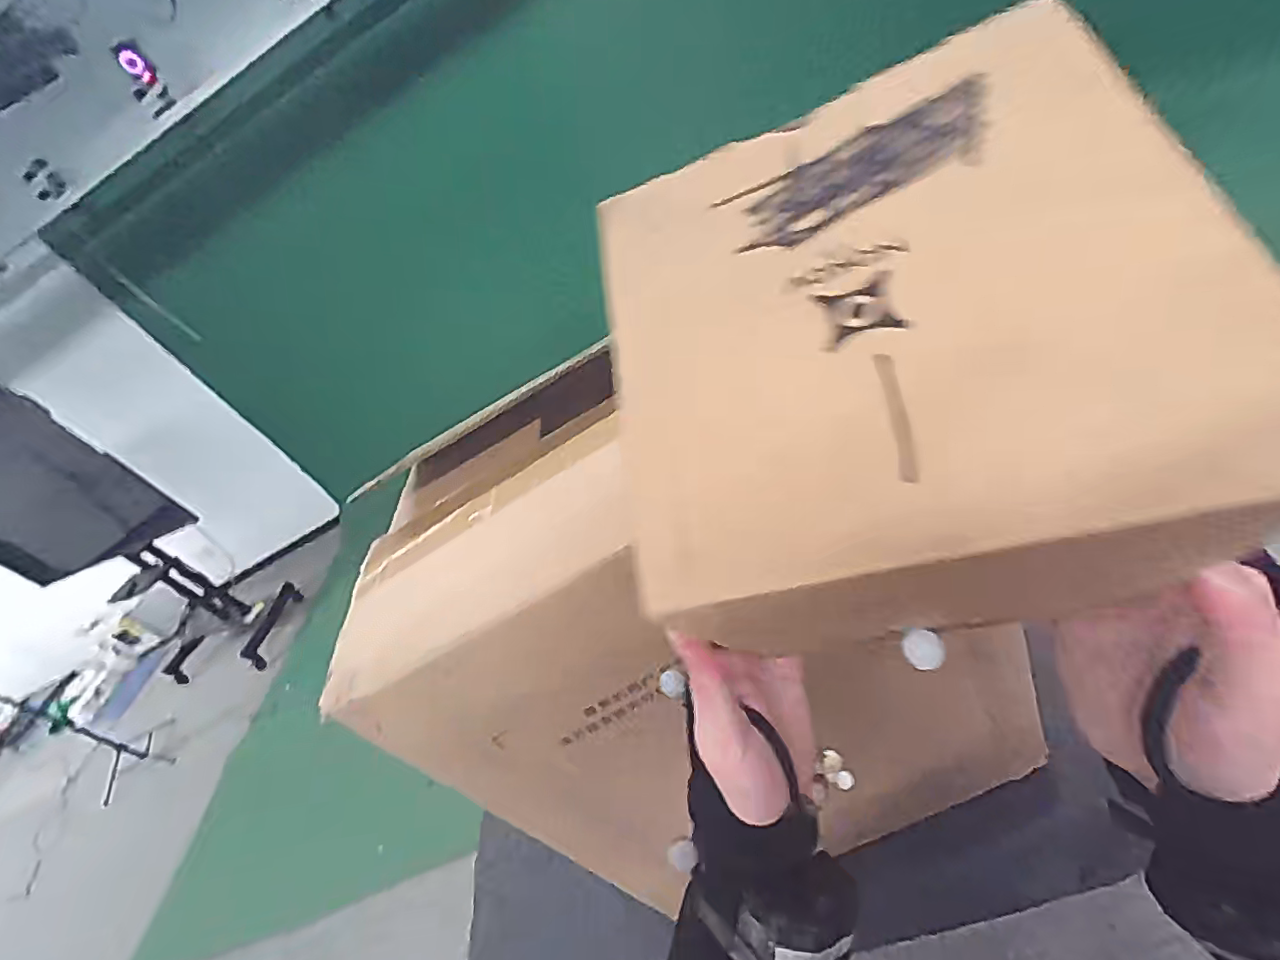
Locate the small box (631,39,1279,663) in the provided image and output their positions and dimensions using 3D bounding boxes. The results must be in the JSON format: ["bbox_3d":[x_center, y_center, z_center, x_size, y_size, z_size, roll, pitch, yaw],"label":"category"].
[{"bbox_3d":[0.107,-0.023,0.238,0.168,0.176,0.179,-14,65,20],"label":"small box"}]
